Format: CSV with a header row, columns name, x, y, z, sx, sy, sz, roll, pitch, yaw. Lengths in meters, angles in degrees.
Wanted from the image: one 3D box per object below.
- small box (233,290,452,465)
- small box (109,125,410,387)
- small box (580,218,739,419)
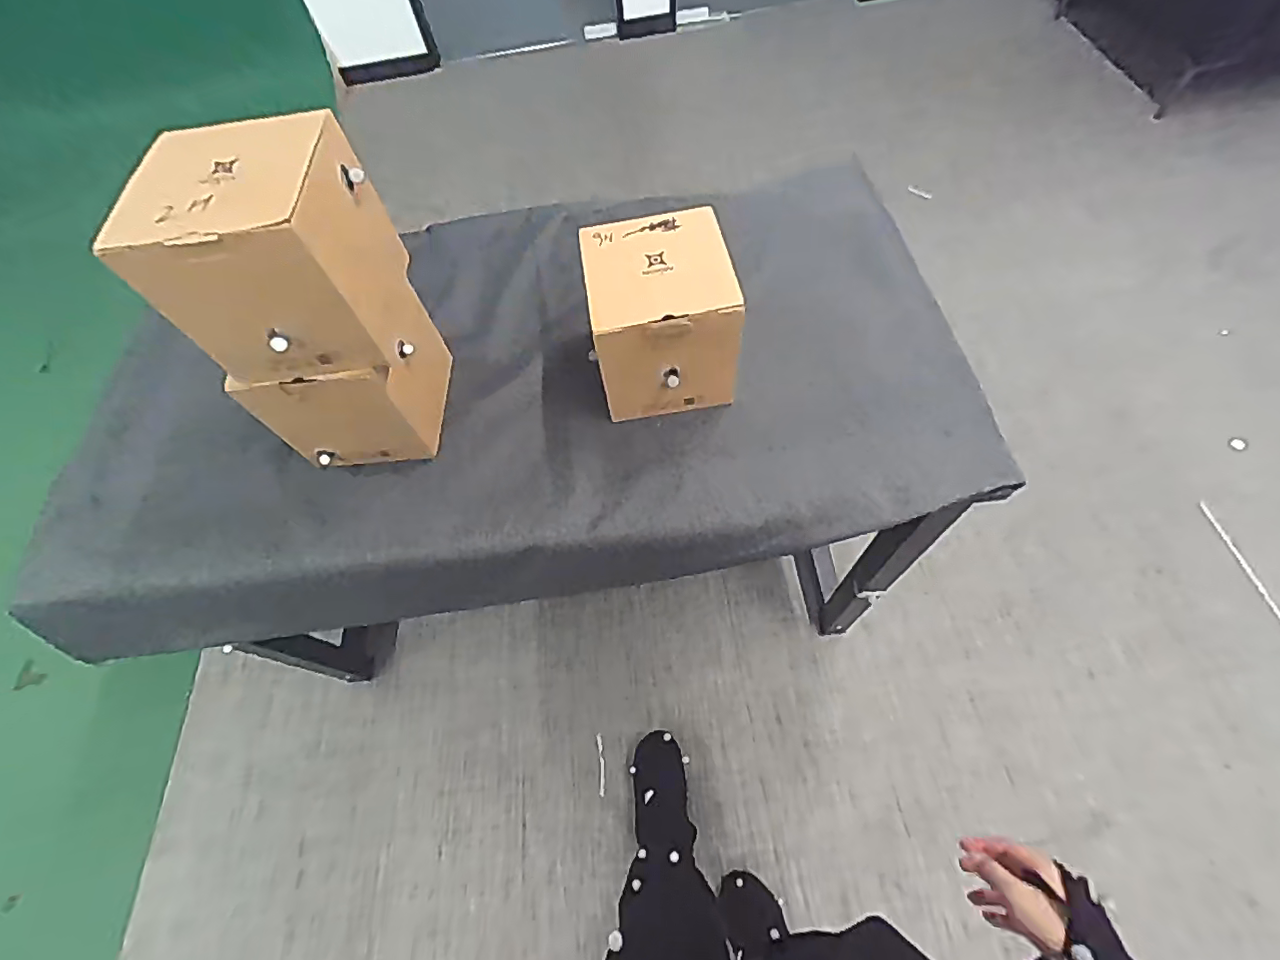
name,x,y,z,sx,sy,sz,roll,pitch,yaw
small box,-0.357,-0.130,0.691,0.168,0.176,0.179,-4,59,3
small box,-0.356,-0.221,0.552,0.168,0.176,0.179,-7,60,2
small box,0.025,-0.193,0.687,0.168,0.176,0.179,-9,60,1
